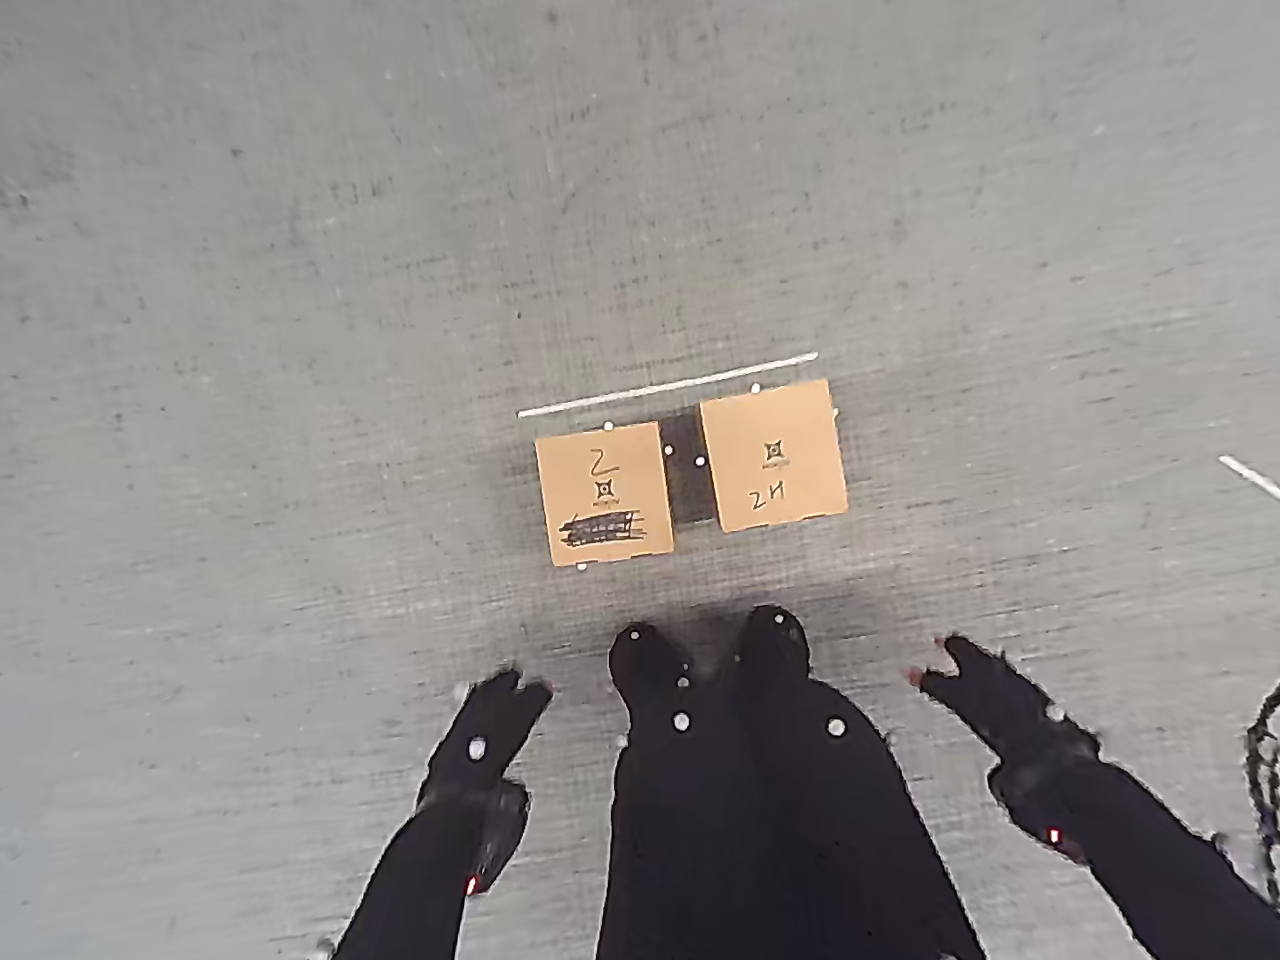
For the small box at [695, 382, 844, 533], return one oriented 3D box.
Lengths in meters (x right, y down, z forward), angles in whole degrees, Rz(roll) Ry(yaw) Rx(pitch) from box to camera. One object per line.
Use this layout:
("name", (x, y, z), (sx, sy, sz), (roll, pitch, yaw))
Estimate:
("small box", (0.174, -0.031, 0.778), (0.168, 0.176, 0.179), (-10, 93, 5))
